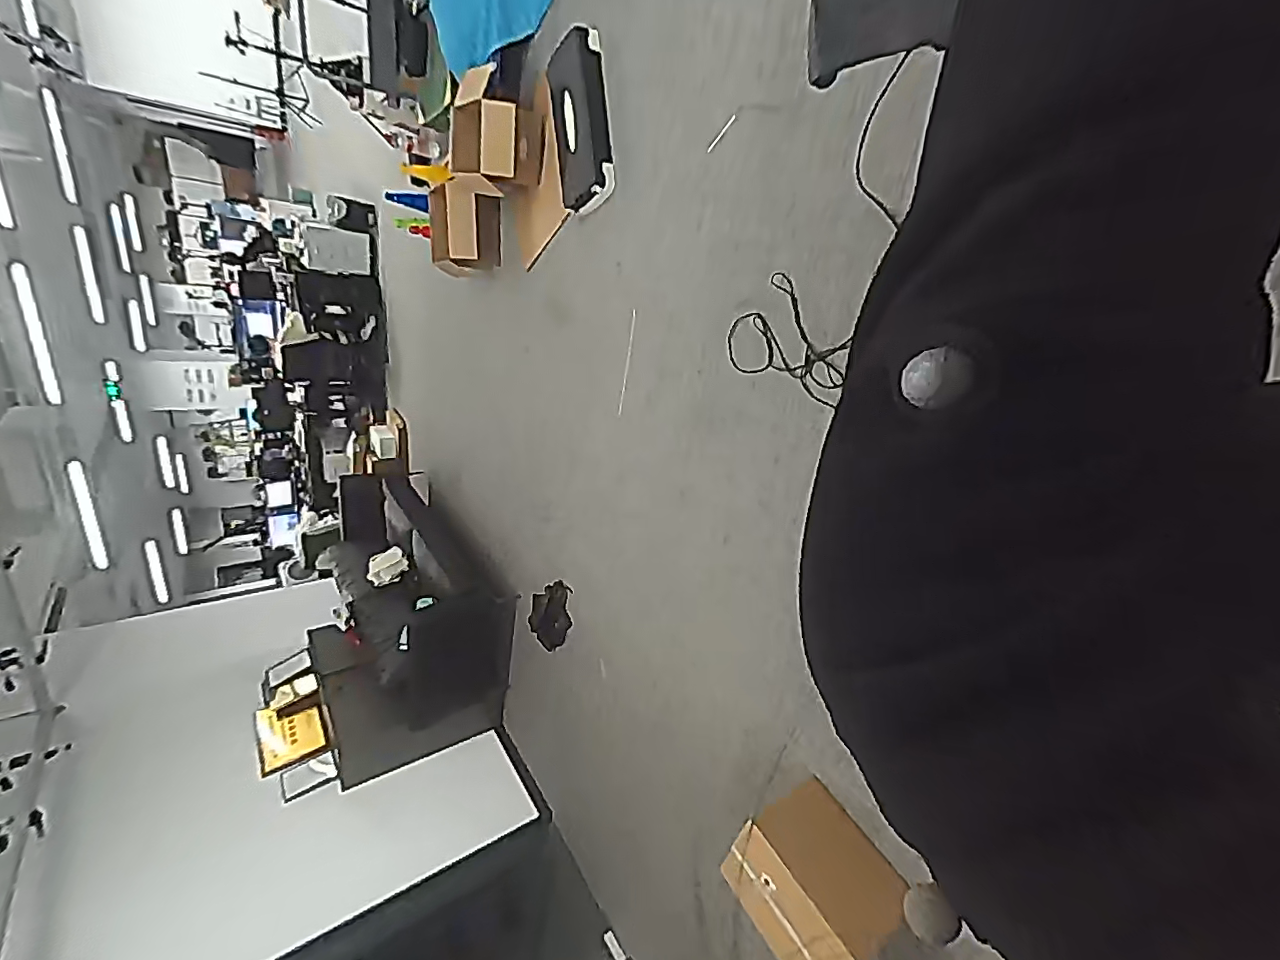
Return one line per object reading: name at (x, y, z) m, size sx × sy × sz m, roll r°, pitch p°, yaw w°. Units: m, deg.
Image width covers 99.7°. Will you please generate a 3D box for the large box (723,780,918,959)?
large box at (0.531, 1.228, 1.636) m, size 0.408 × 0.320 × 0.320 m, roll 44°, pitch 129°, yaw 41°
